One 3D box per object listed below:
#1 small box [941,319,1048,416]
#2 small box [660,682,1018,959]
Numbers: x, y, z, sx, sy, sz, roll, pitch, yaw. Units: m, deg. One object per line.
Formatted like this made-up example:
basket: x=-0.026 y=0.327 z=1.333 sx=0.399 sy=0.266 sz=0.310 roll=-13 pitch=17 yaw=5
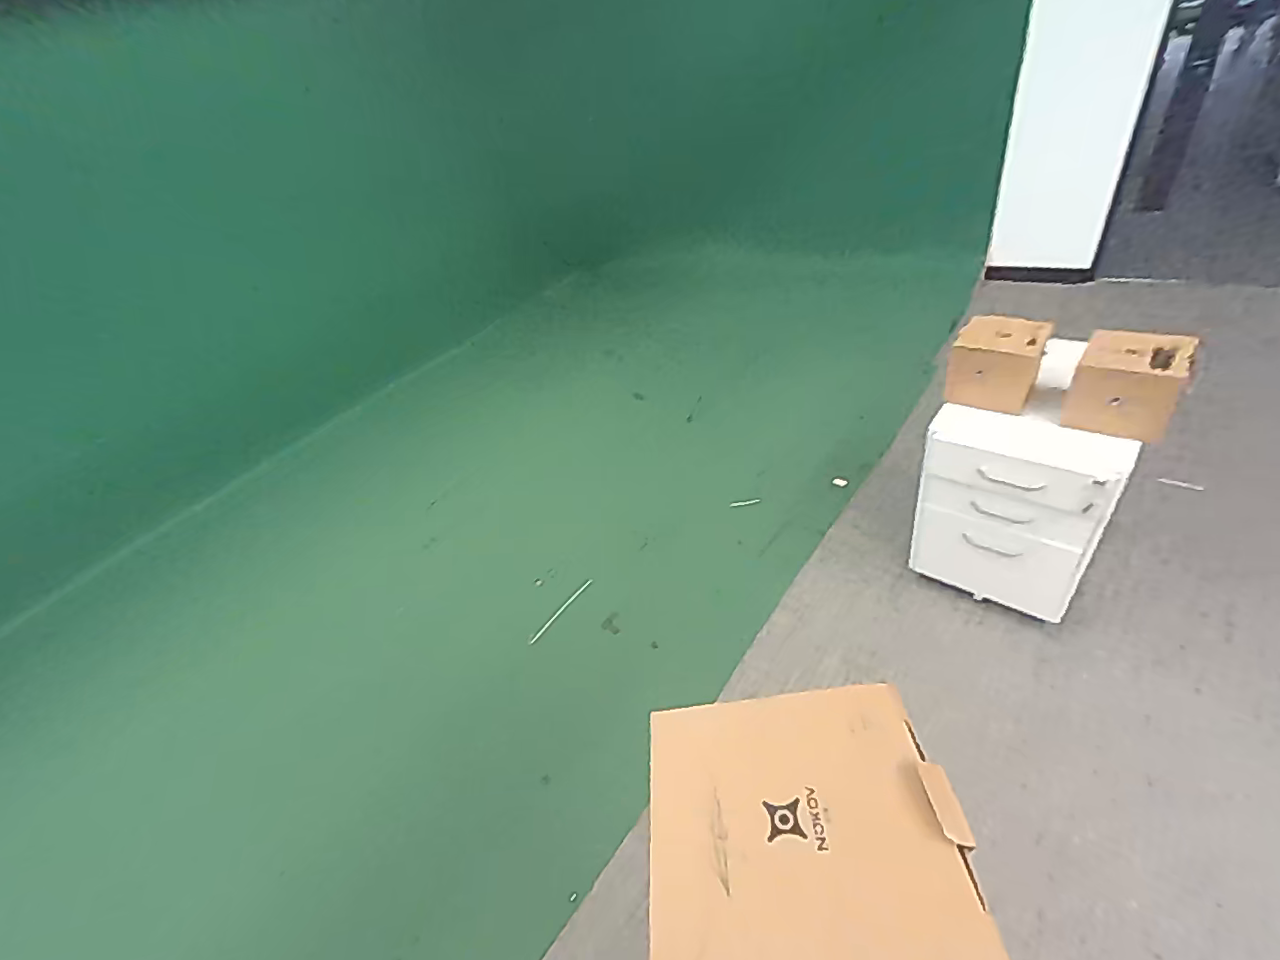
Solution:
small box: x=0.879 y=-0.281 z=1.355 sx=0.179 sy=0.176 sz=0.168 roll=22 pitch=53 yaw=36
small box: x=0.116 y=0.268 z=0.369 sx=0.179 sy=0.176 sz=0.168 roll=-12 pitch=32 yaw=10
